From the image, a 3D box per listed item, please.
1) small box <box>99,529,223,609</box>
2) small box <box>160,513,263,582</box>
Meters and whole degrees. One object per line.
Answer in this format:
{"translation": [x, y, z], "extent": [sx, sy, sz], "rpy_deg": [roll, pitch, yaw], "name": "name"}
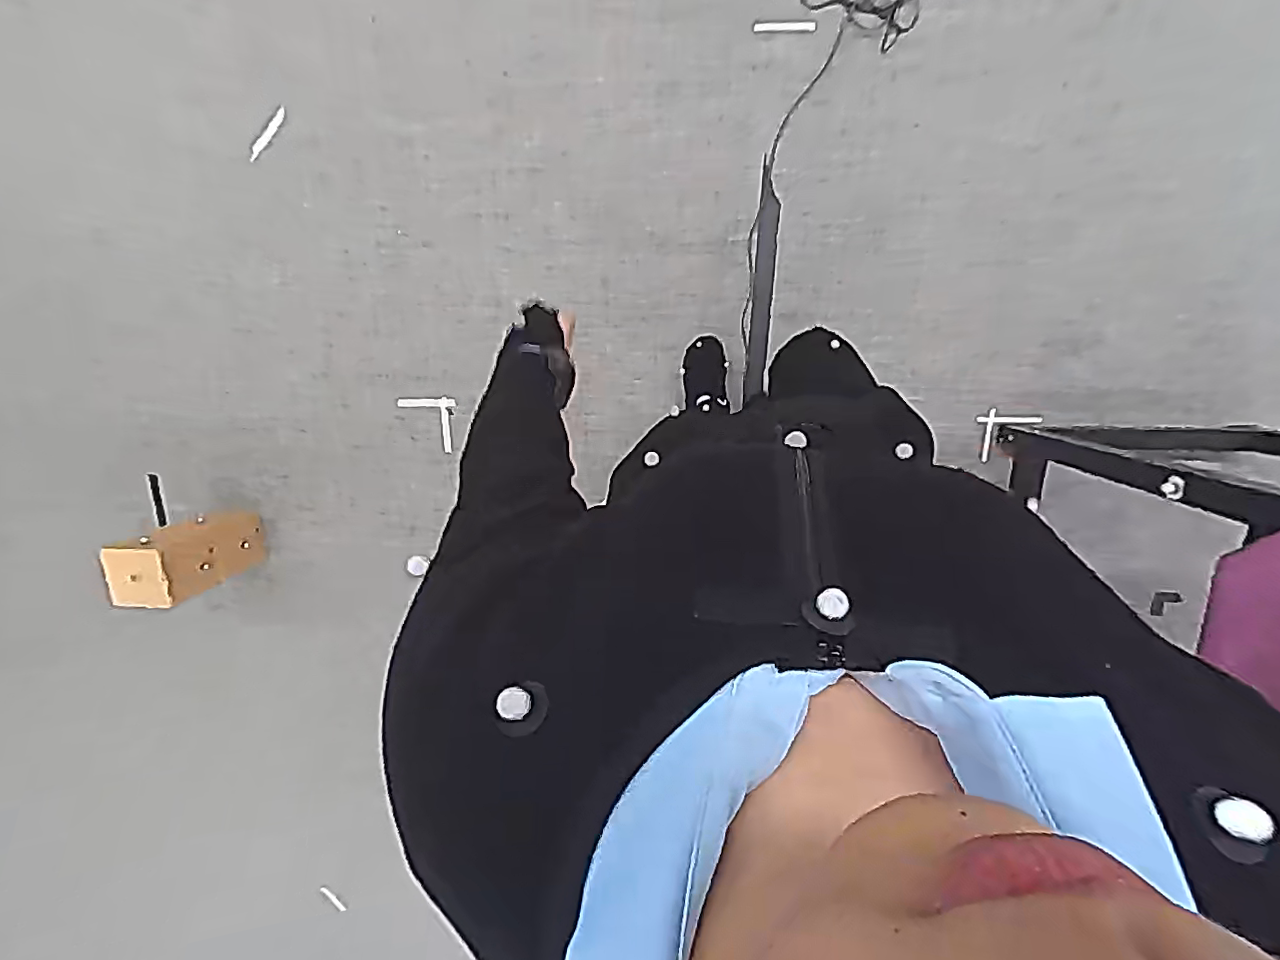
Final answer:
{"translation": [-1.305, 0.239, 1.484], "extent": [0.179, 0.176, 0.168], "rpy_deg": [0, 104, 6], "name": "small box"}
{"translation": [-1.285, 0.200, 1.641], "extent": [0.179, 0.176, 0.168], "rpy_deg": [-1, 104, 8], "name": "small box"}
